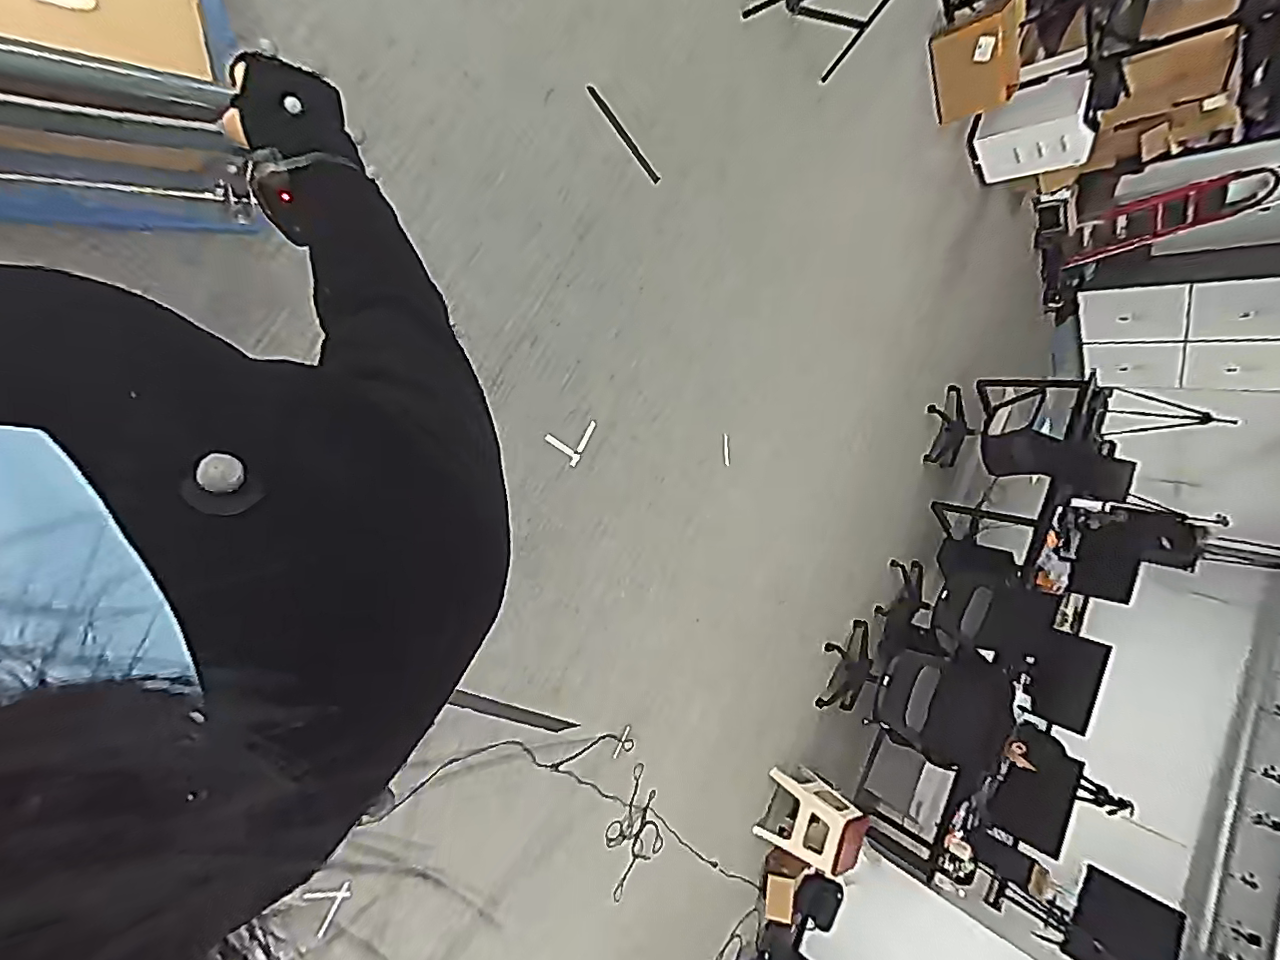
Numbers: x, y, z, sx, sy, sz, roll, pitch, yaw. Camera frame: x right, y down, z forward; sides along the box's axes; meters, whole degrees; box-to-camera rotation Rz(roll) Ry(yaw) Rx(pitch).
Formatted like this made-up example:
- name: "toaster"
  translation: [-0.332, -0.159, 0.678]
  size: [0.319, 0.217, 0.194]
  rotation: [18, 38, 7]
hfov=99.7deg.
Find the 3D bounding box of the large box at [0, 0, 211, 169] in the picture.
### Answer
- name: "large box"
  translation: [-0.863, -0.639, 0.702]
  size: [0.408, 0.320, 0.320]
  rotation: [-17, 111, -42]
